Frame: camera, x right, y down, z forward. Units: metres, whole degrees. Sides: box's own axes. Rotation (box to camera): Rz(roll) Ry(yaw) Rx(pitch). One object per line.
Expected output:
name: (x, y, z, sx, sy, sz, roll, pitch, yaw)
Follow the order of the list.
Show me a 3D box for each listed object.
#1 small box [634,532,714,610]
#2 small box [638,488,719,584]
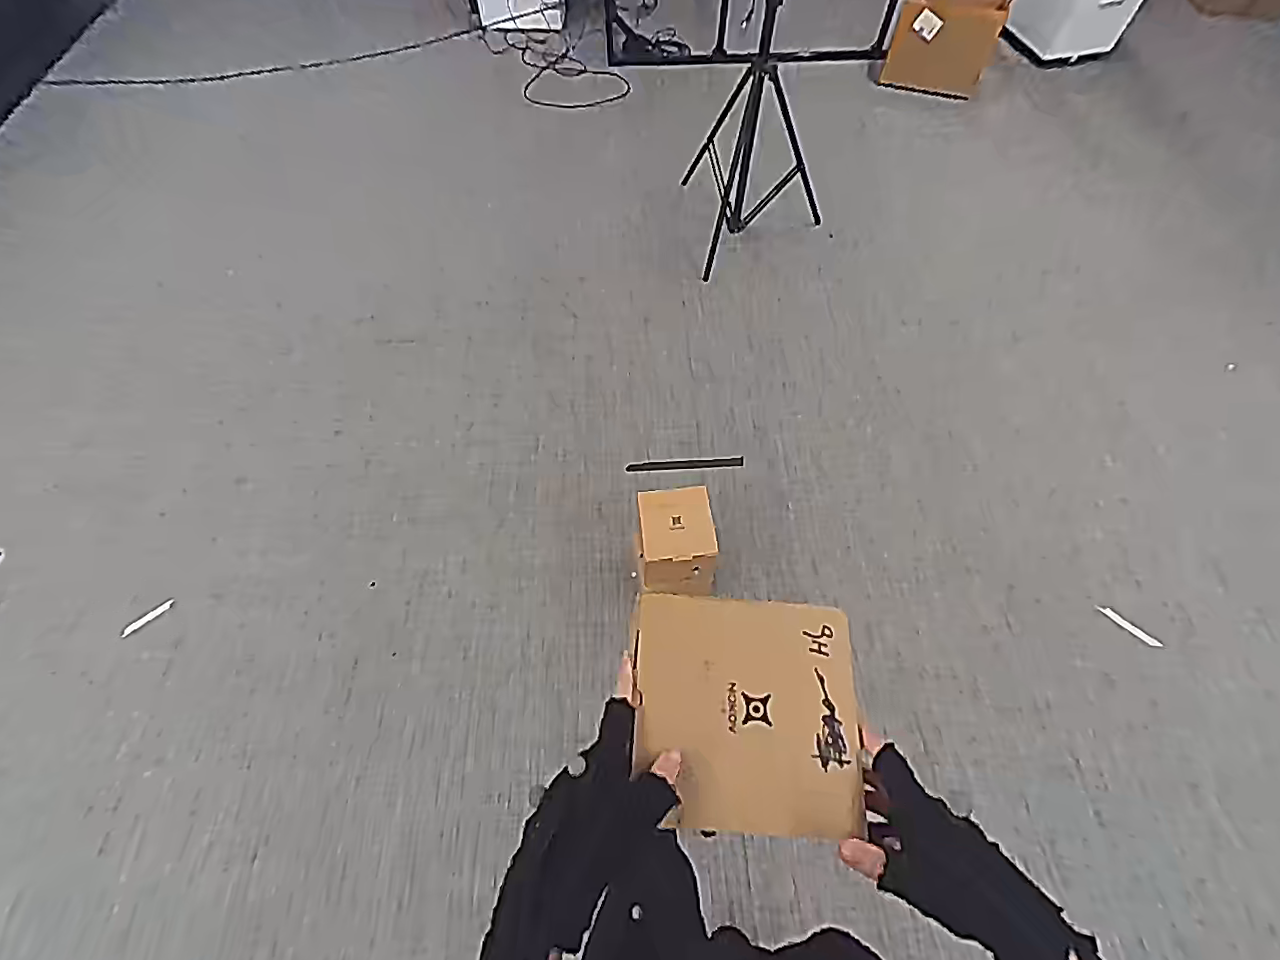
small box: (0.083, 0.231, 1.421, 0.179, 0.176, 0.168, -9, 61, -4)
small box: (0.085, 0.140, 1.286, 0.168, 0.176, 0.179, -5, 60, -4)
